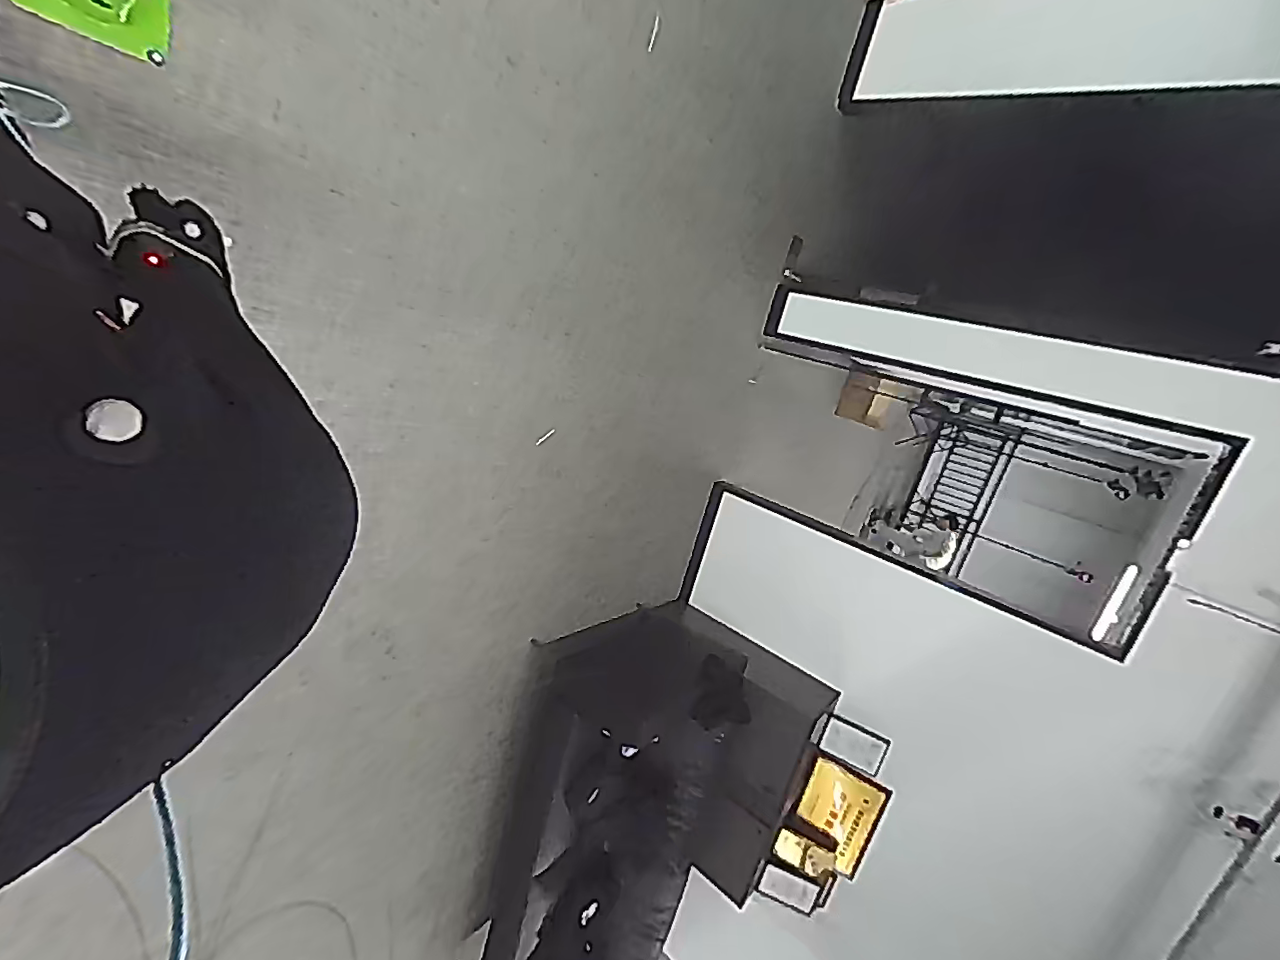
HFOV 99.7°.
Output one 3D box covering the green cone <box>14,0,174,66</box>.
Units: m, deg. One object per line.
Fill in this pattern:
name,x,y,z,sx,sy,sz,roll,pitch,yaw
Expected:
green cone,-0.778,-0.784,0.800,0.202,0.368,0.200,-4,114,-51
